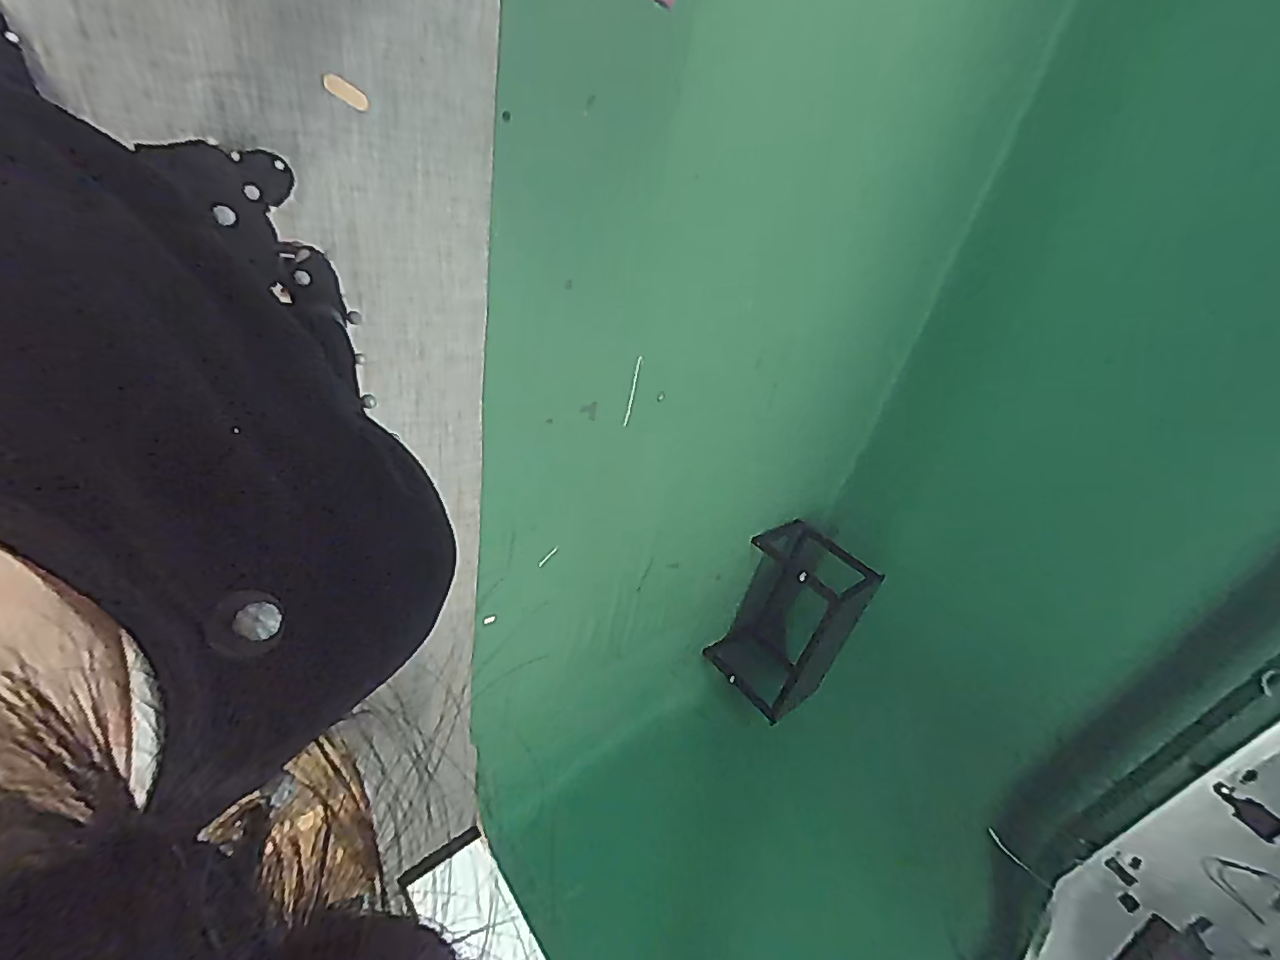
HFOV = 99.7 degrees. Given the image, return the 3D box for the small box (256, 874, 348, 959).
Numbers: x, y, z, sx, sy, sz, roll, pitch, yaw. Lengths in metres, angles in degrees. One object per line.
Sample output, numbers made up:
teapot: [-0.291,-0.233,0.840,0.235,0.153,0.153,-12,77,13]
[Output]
small box: [-0.966,1.277,1.543,0.168,0.176,0.179,-23,134,-34]
